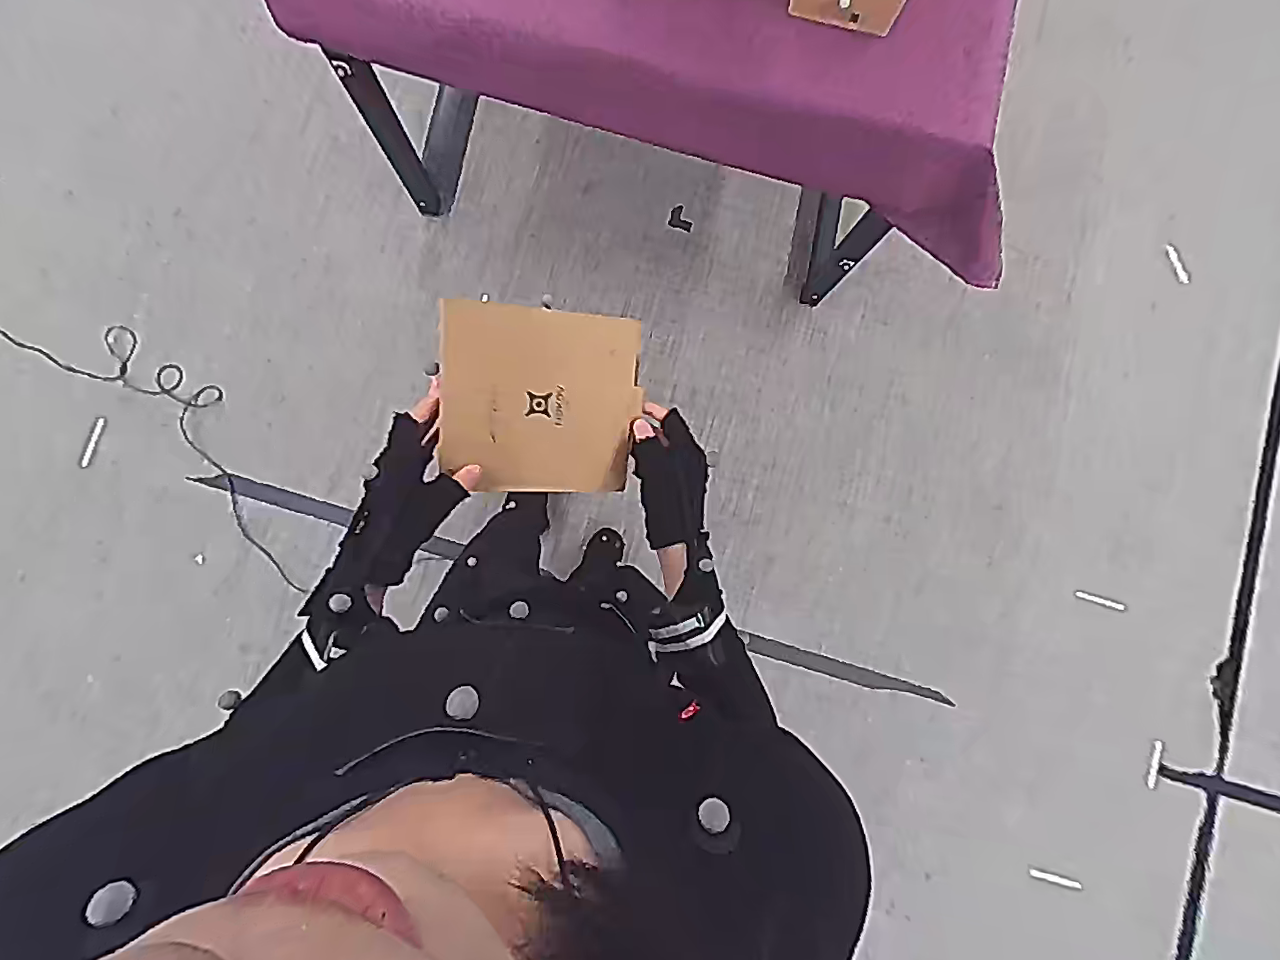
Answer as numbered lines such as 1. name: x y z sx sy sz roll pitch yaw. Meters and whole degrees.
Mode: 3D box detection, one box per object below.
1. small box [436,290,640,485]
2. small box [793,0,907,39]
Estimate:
1. small box: -0.113 -0.094 0.552 0.179 0.176 0.168 0 104 -18
2. small box: 0.346 -0.828 0.811 0.168 0.176 0.179 12 85 -2
